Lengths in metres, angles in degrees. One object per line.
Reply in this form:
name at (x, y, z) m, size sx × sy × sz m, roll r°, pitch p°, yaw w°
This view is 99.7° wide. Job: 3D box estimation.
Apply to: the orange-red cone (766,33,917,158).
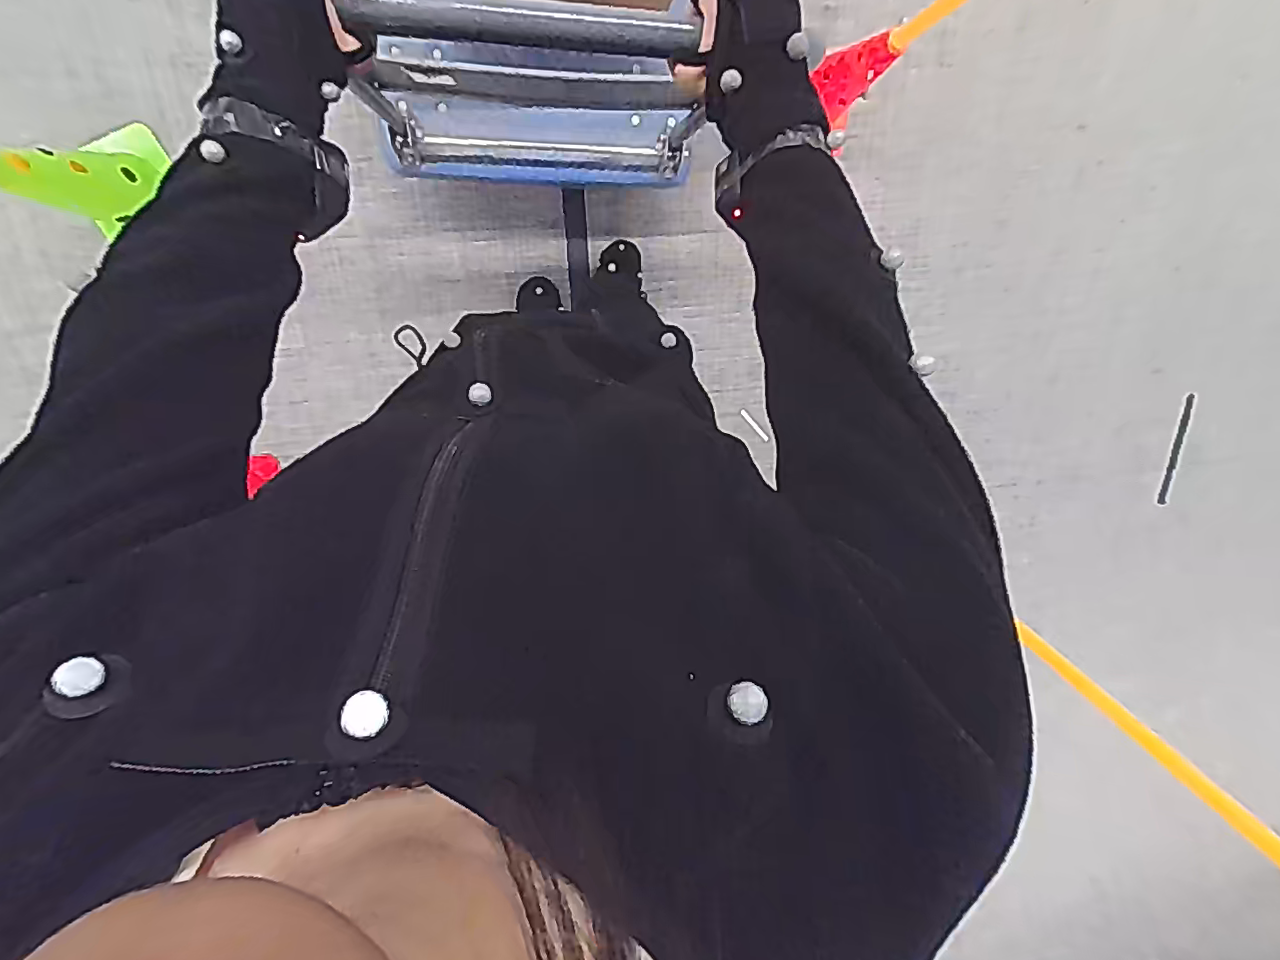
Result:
orange-red cone at (0.415, -0.781, 1.053) m, size 0.199 × 0.360 × 0.198 m, roll 0°, pitch 111°, yaw -10°
